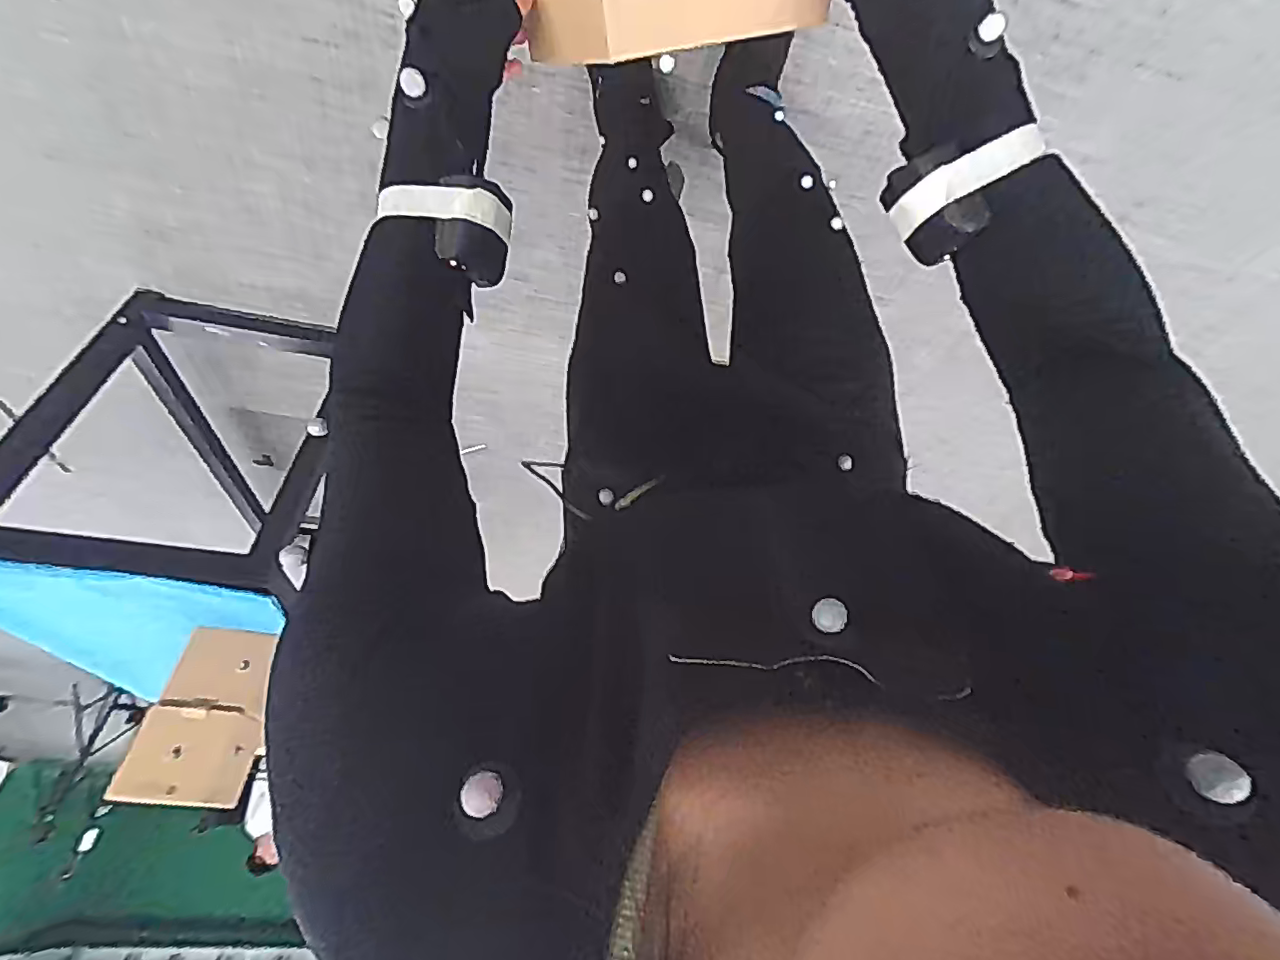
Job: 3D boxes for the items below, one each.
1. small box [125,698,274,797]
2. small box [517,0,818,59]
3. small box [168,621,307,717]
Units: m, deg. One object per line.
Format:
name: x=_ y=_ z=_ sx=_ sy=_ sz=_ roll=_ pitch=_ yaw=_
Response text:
small box: x=-0.920 y=0.569 z=1.139 sx=0.168 sy=0.176 sz=0.179 roll=11 pitch=147 yaw=-9
small box: x=0.008 y=-0.410 z=0.376 sx=0.179 sy=0.176 sz=0.168 roll=-22 pitch=132 yaw=-14
small box: x=-0.910 y=0.439 z=1.239 sx=0.179 sy=0.176 sz=0.168 roll=8 pitch=145 yaw=-9
